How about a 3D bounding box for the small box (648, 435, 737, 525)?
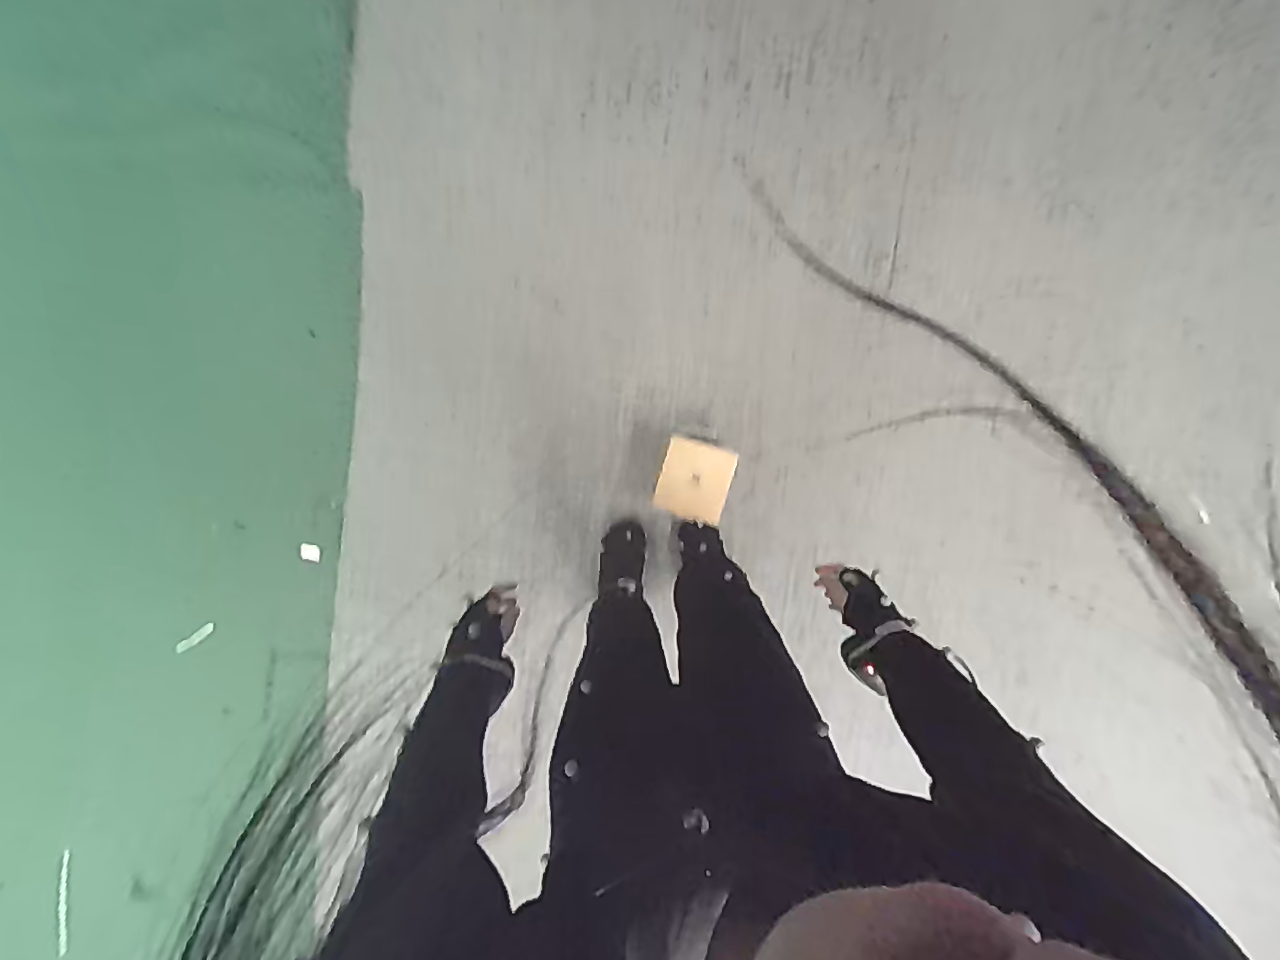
[{"bbox_3d":[0.122,-0.006,1.337,0.168,0.176,0.179,16,94,-4],"label":"small box"}]
